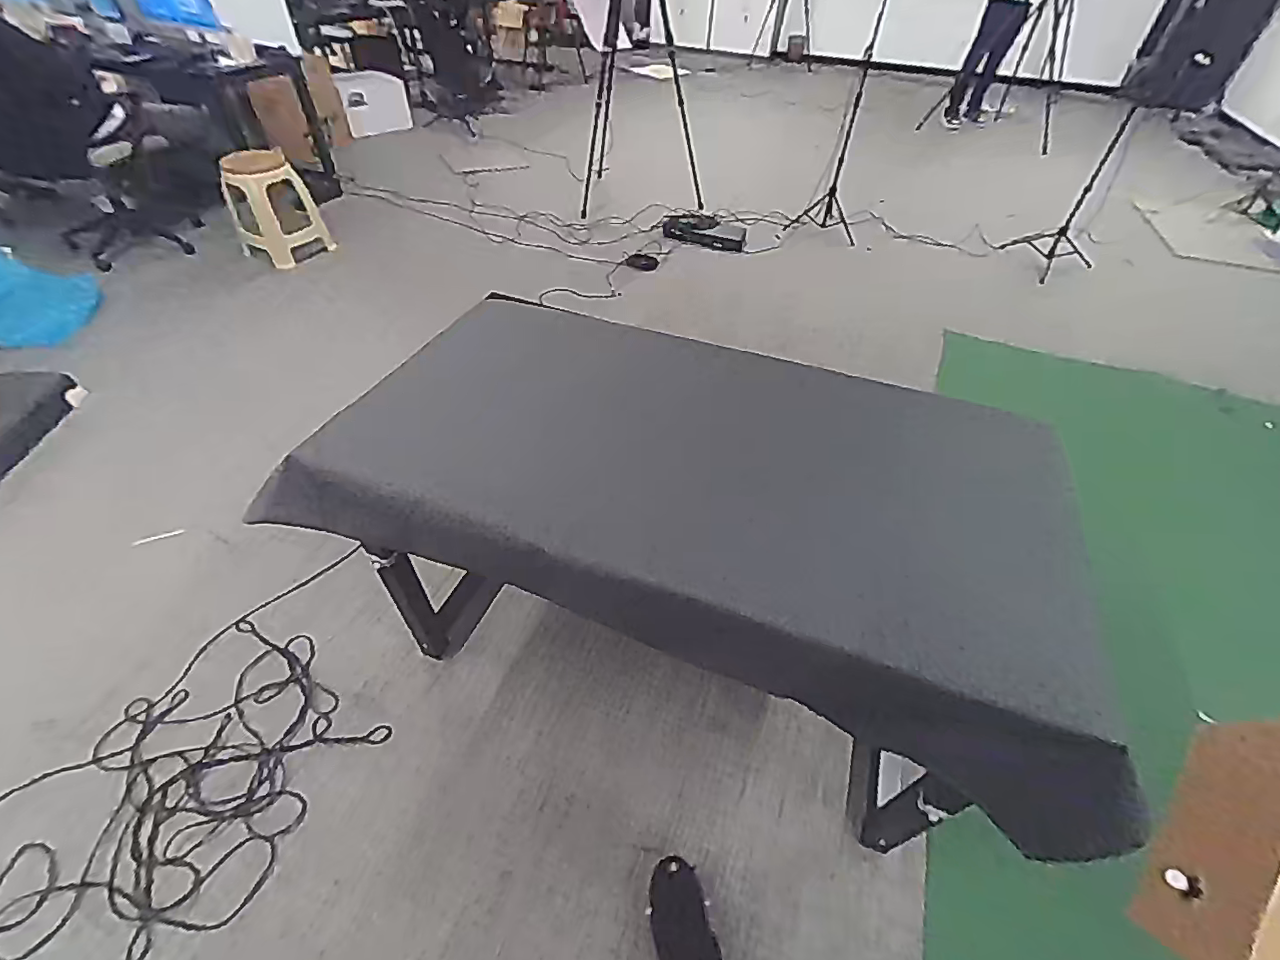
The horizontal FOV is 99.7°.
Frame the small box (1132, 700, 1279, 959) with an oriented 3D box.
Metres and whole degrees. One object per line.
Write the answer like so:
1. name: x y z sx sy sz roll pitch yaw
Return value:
1. small box: 0.463 0.265 0.343 0.168 0.176 0.179 26 78 30
